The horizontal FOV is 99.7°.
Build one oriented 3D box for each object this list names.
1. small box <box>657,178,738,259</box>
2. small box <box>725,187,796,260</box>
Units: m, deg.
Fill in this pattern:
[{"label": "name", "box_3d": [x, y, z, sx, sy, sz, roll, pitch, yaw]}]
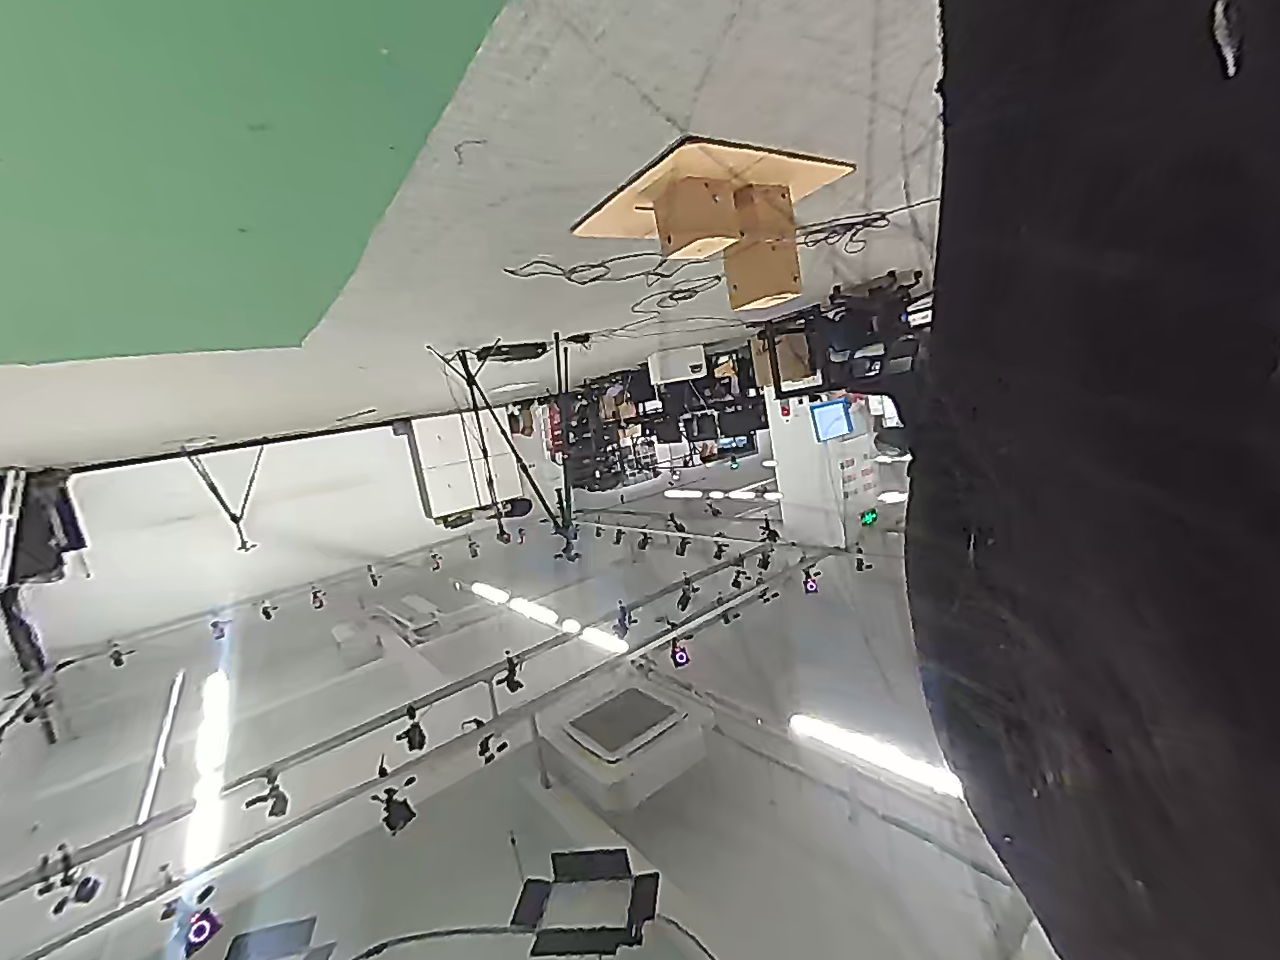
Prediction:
[{"label": "small box", "box_3d": [0.167, -0.774, 1.614, 0.168, 0.176, 0.179, -17, -171, -34]}, {"label": "small box", "box_3d": [0.374, -0.826, 1.746, 0.168, 0.176, 0.179, -15, -171, -30]}]
